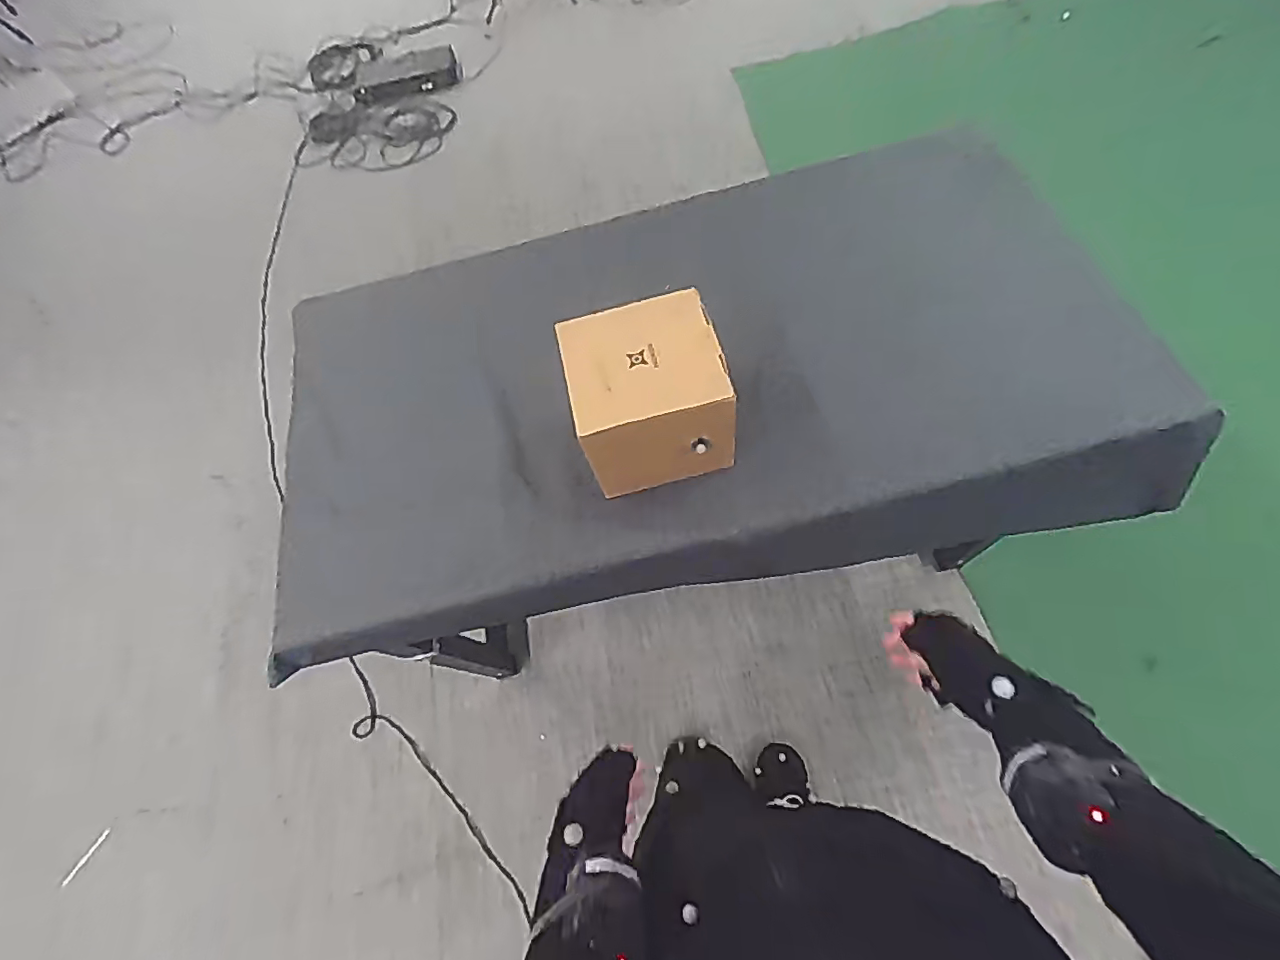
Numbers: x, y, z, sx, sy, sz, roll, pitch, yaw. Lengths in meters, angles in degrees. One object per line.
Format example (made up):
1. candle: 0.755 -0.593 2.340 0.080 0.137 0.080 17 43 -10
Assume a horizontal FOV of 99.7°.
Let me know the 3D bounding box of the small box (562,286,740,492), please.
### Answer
1. small box: 0.018 -0.106 0.682 0.179 0.176 0.168 -16 63 3
